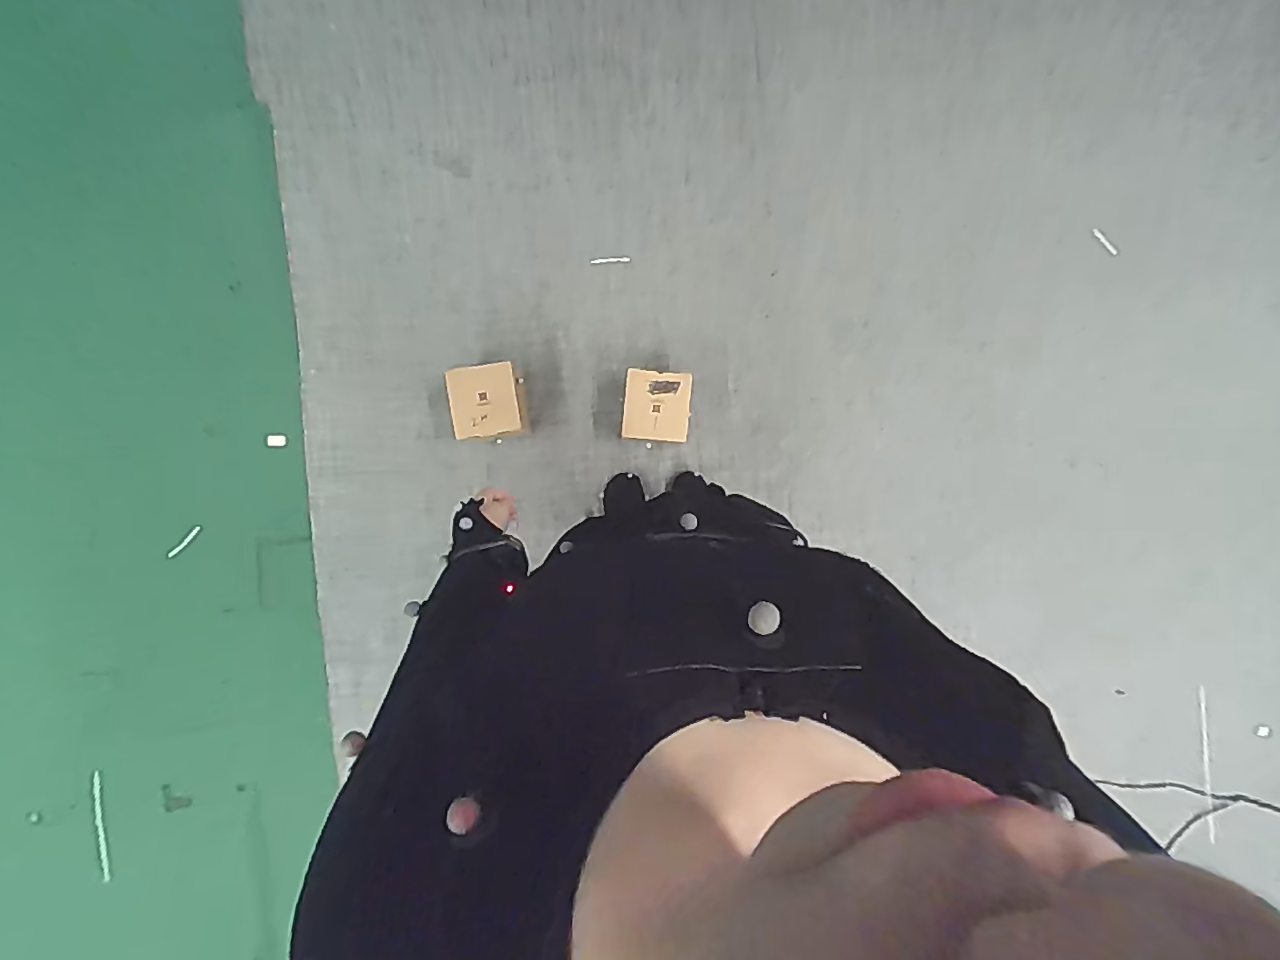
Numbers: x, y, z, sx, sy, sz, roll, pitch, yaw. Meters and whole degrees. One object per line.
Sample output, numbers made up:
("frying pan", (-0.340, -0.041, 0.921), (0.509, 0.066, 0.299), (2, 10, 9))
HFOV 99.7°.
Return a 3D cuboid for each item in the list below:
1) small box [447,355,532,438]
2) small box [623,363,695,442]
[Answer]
("small box", (-0.383, -0.210, 1.399), (0.168, 0.176, 0.179), (-9, 92, -1))
("small box", (0.045, -0.197, 1.414), (0.168, 0.176, 0.179), (5, 92, -2))
